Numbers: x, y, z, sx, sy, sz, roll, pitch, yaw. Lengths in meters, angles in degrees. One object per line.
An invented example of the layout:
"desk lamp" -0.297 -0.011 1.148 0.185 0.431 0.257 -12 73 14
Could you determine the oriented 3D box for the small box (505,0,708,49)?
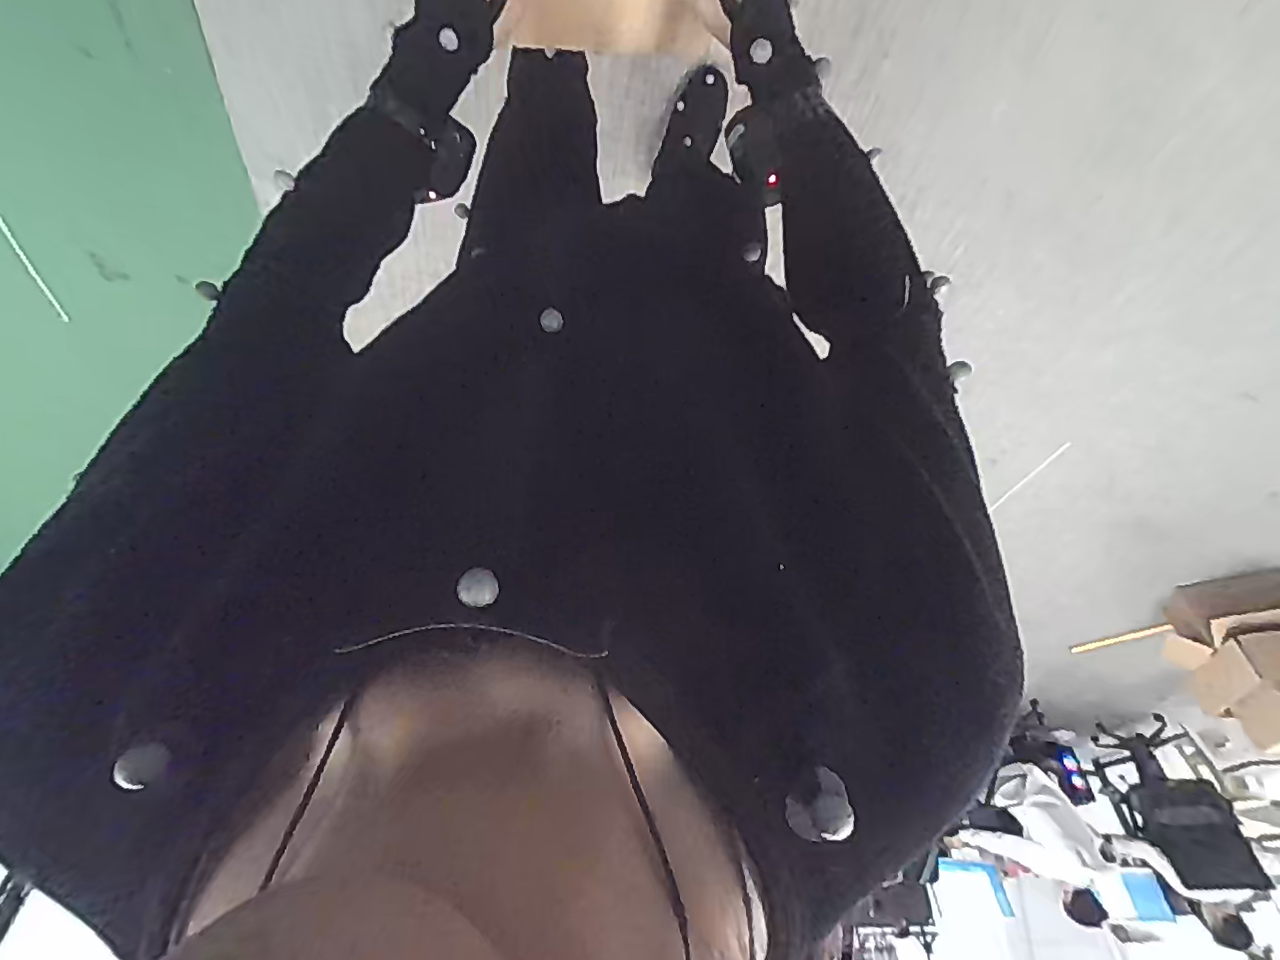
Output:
"small box" -0.031 -0.500 0.451 0.179 0.176 0.168 -3 151 -8
